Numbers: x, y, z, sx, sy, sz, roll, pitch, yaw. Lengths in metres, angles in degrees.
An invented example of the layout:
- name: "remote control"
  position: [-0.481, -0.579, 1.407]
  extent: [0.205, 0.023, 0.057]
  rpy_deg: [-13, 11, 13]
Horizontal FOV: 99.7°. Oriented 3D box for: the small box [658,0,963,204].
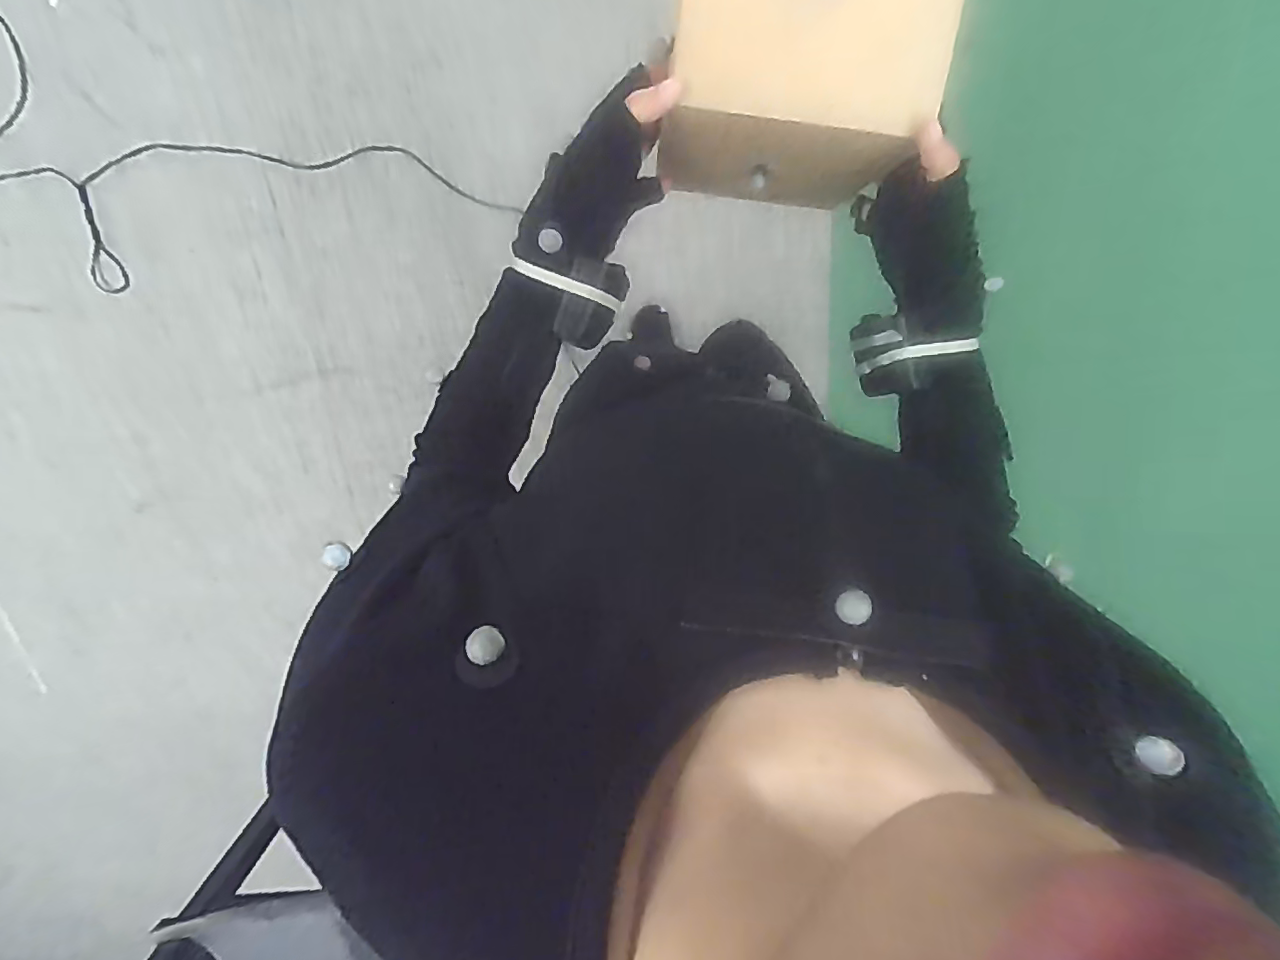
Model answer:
- name: "small box"
  position: [0.106, -0.317, 0.384]
  extent: [0.168, 0.176, 0.179]
  rpy_deg: [6, 102, -4]
